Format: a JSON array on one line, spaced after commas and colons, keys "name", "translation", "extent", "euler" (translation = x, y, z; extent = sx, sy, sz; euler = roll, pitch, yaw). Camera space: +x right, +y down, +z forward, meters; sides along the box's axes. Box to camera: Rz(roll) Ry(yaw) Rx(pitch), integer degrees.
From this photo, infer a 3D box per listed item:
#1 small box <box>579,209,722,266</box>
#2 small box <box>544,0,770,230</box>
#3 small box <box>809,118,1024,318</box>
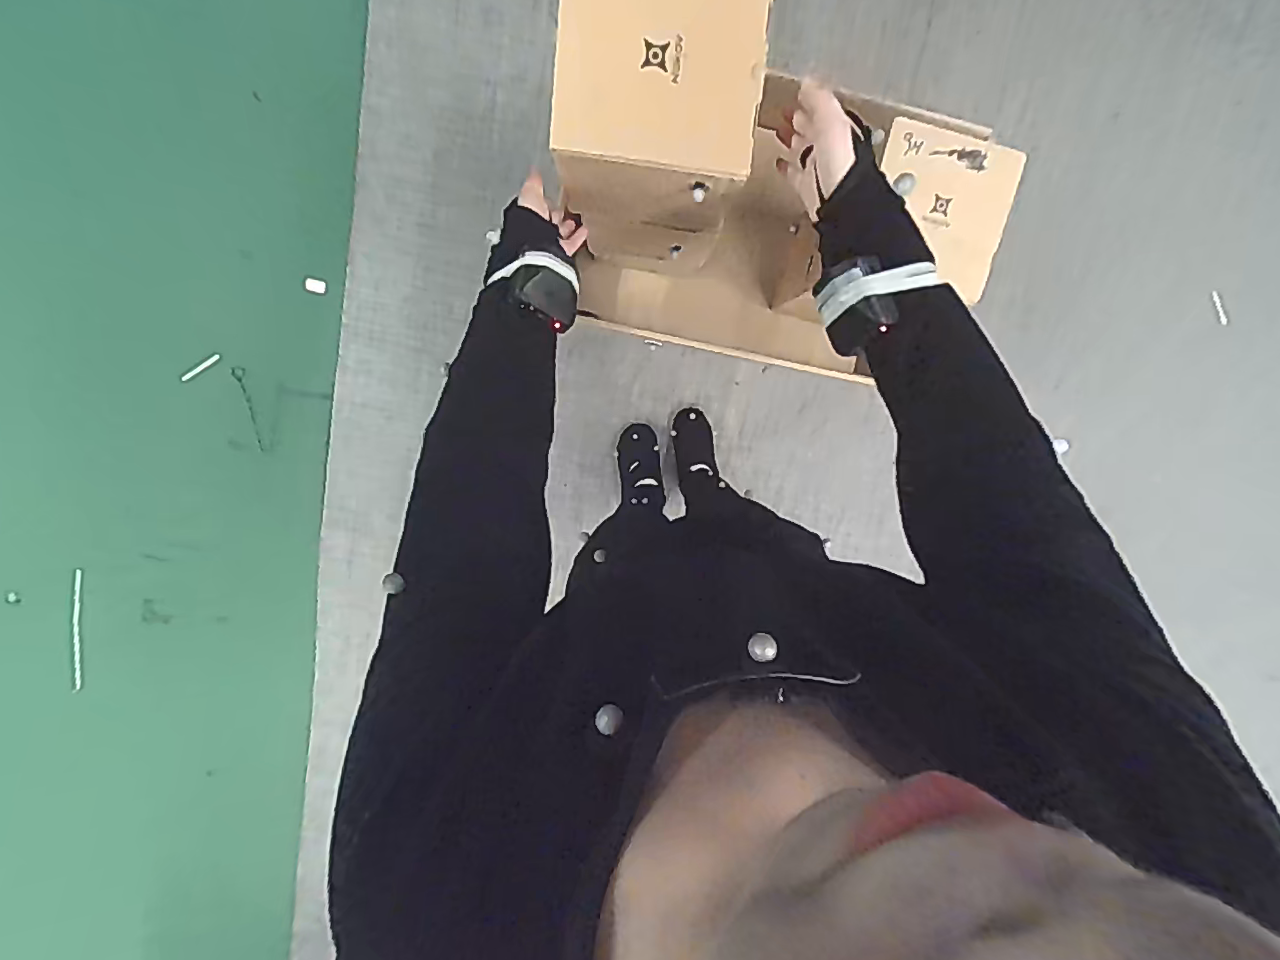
[{"name": "small box", "translation": [0.020, -0.384, 0.685], "extent": [0.168, 0.176, 0.179], "euler": [7, 99, -3]}, {"name": "small box", "translation": [0.011, -0.358, 0.524], "extent": [0.179, 0.176, 0.168], "euler": [5, 99, -4]}, {"name": "small box", "translation": [0.339, -0.320, 0.704], "extent": [0.168, 0.176, 0.179], "euler": [13, 100, -5]}]
